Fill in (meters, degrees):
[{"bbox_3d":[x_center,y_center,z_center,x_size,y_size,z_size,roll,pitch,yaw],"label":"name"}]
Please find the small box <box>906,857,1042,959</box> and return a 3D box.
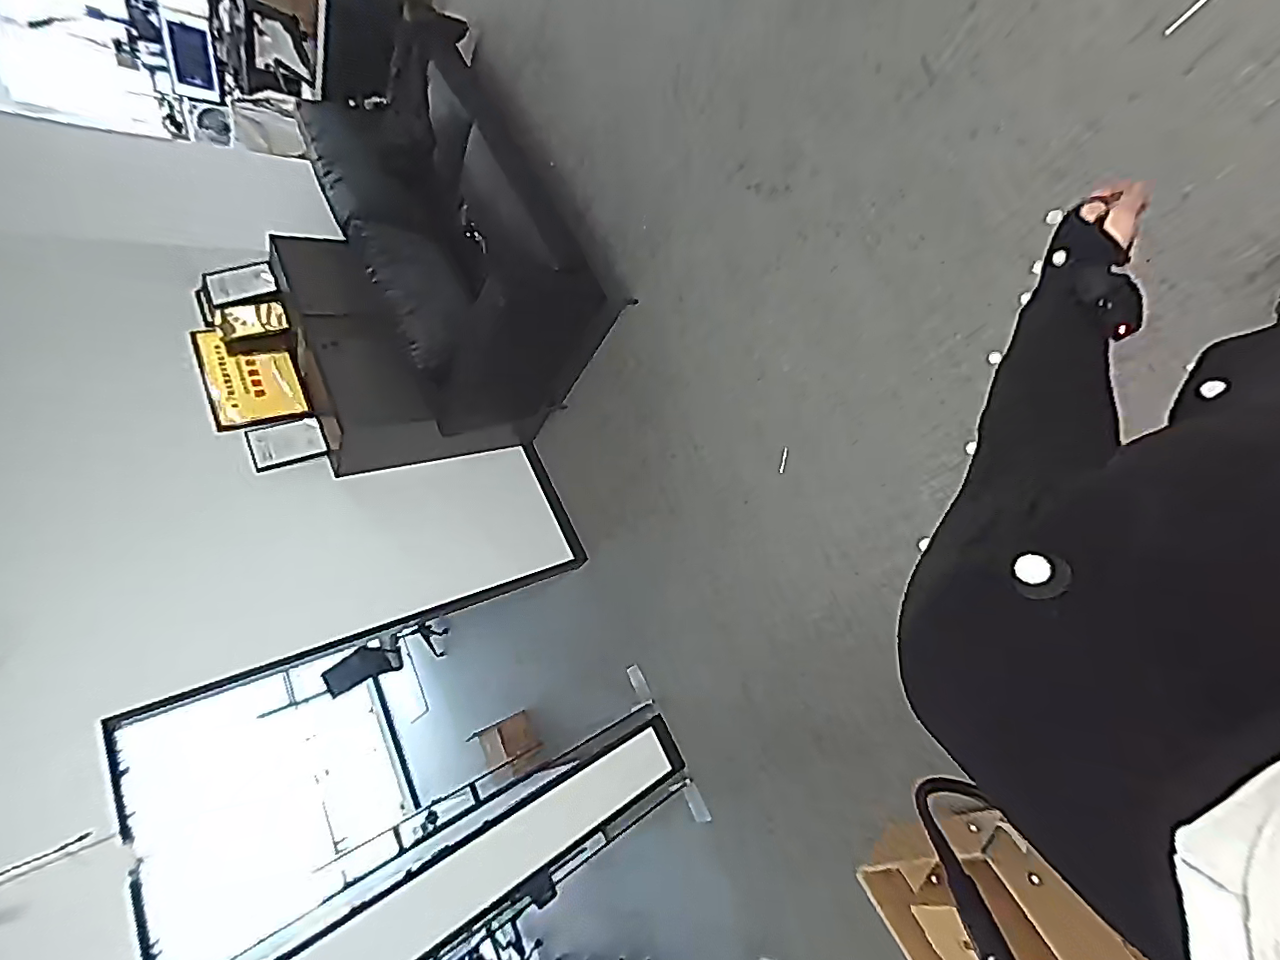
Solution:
[{"bbox_3d":[0.752,0.985,1.215,0.168,0.176,0.179,58,137,19],"label":"small box"}]
